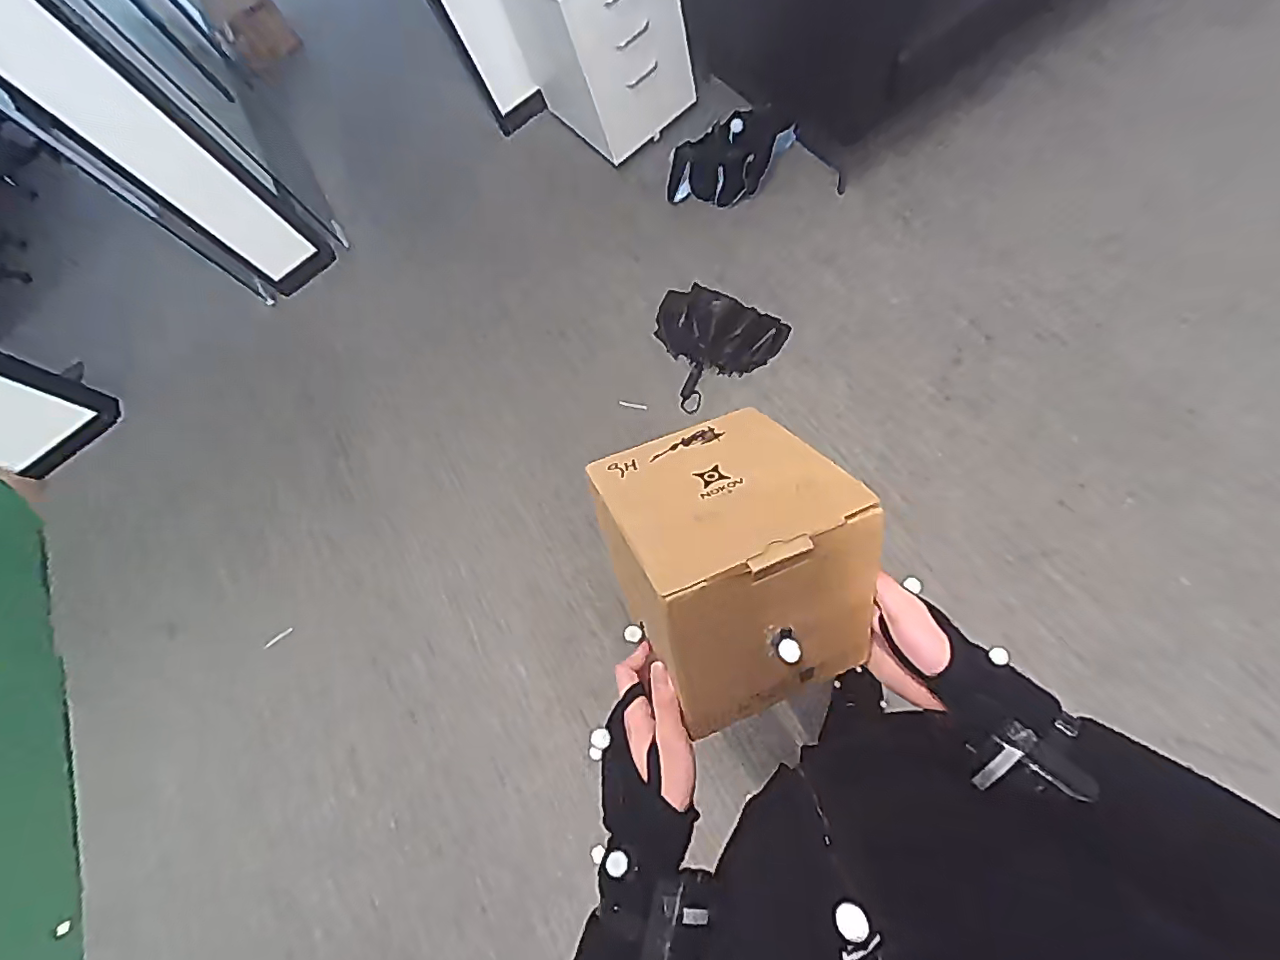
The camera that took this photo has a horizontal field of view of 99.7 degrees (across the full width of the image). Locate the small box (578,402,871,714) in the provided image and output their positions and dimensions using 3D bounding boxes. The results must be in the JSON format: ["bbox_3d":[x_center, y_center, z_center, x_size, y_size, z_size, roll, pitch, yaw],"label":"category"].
[{"bbox_3d":[0.063,0.065,0.451,0.168,0.176,0.179,-19,37,-11],"label":"small box"}]
